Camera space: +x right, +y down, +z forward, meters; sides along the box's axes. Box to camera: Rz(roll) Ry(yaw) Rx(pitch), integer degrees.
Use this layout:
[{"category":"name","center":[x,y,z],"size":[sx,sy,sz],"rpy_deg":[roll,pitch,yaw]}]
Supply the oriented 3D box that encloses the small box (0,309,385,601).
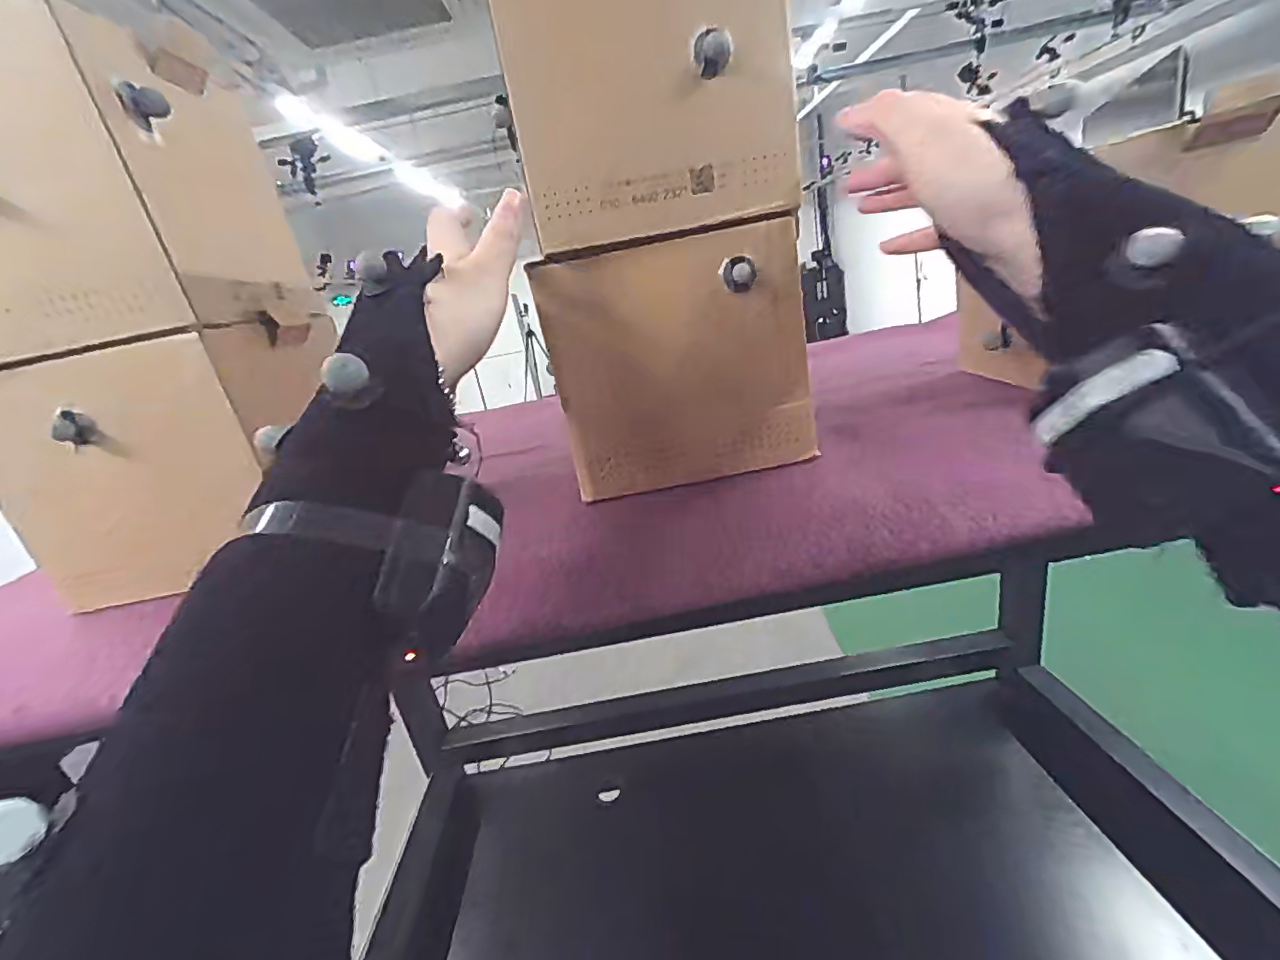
[{"category":"small box","center":[-0.334,-0.027,0.415],"size":[0.179,0.176,0.168],"rpy_deg":[-11,21,1]}]

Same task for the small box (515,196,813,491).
[{"category":"small box","center":[0.021,-0.101,0.428],"size":[0.179,0.176,0.168],"rpy_deg":[-11,18,1]}]

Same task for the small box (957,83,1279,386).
[{"category":"small box","center":[0.375,-0.177,0.421],"size":[0.168,0.176,0.179],"rpy_deg":[-10,18,8]}]

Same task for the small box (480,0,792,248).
[{"category":"small box","center":[-0.003,-0.253,0.377],"size":[0.168,0.176,0.179],"rpy_deg":[-10,17,-1]}]
